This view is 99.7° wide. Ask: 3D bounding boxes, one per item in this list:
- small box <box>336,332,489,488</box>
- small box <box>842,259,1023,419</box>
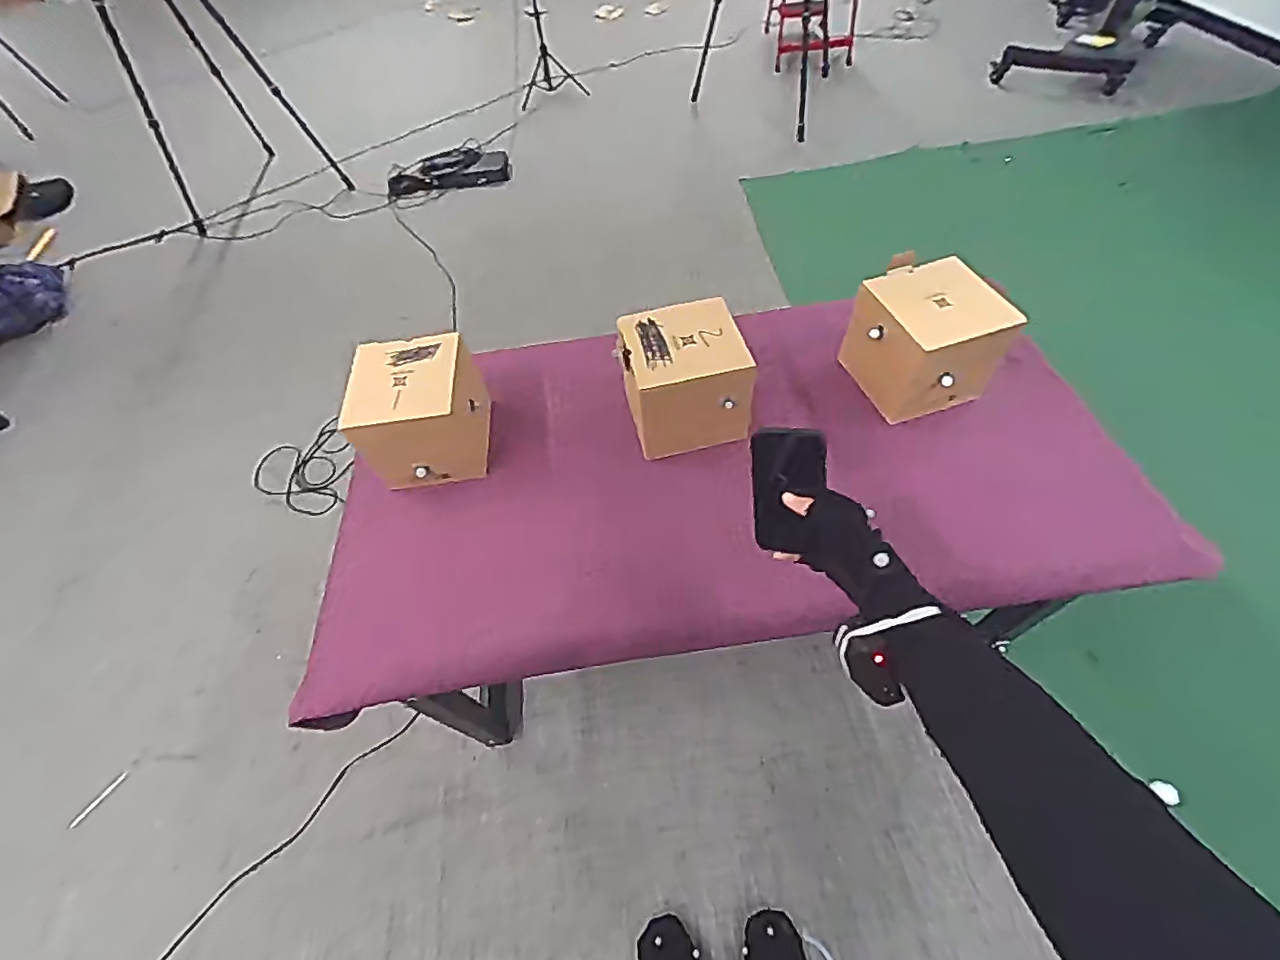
[{"bbox_3d":[-0.352,-0.110,0.875,0.168,0.176,0.179,-7,57,0],"label":"small box"},{"bbox_3d":[0.455,-0.219,0.876,0.168,0.176,0.179,-17,55,-6],"label":"small box"}]
